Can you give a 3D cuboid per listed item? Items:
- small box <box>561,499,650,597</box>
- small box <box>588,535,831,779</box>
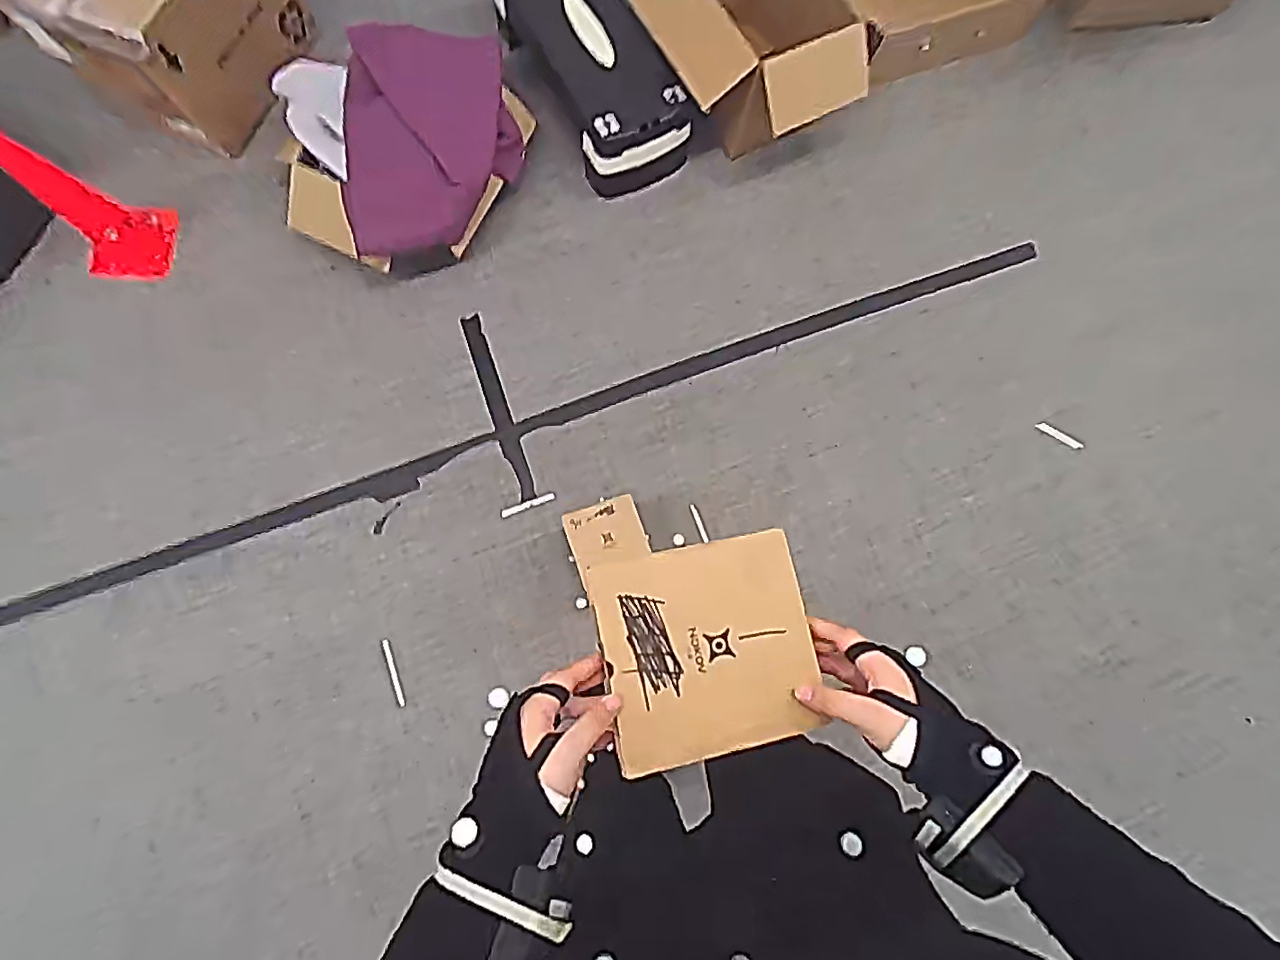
[{"bbox_3d":[-0.075,0.159,1.257,0.168,0.176,0.179,-18,81,-7],"label":"small box"},{"bbox_3d":[0.049,0.156,0.519,0.179,0.176,0.168,-10,80,-9],"label":"small box"}]
